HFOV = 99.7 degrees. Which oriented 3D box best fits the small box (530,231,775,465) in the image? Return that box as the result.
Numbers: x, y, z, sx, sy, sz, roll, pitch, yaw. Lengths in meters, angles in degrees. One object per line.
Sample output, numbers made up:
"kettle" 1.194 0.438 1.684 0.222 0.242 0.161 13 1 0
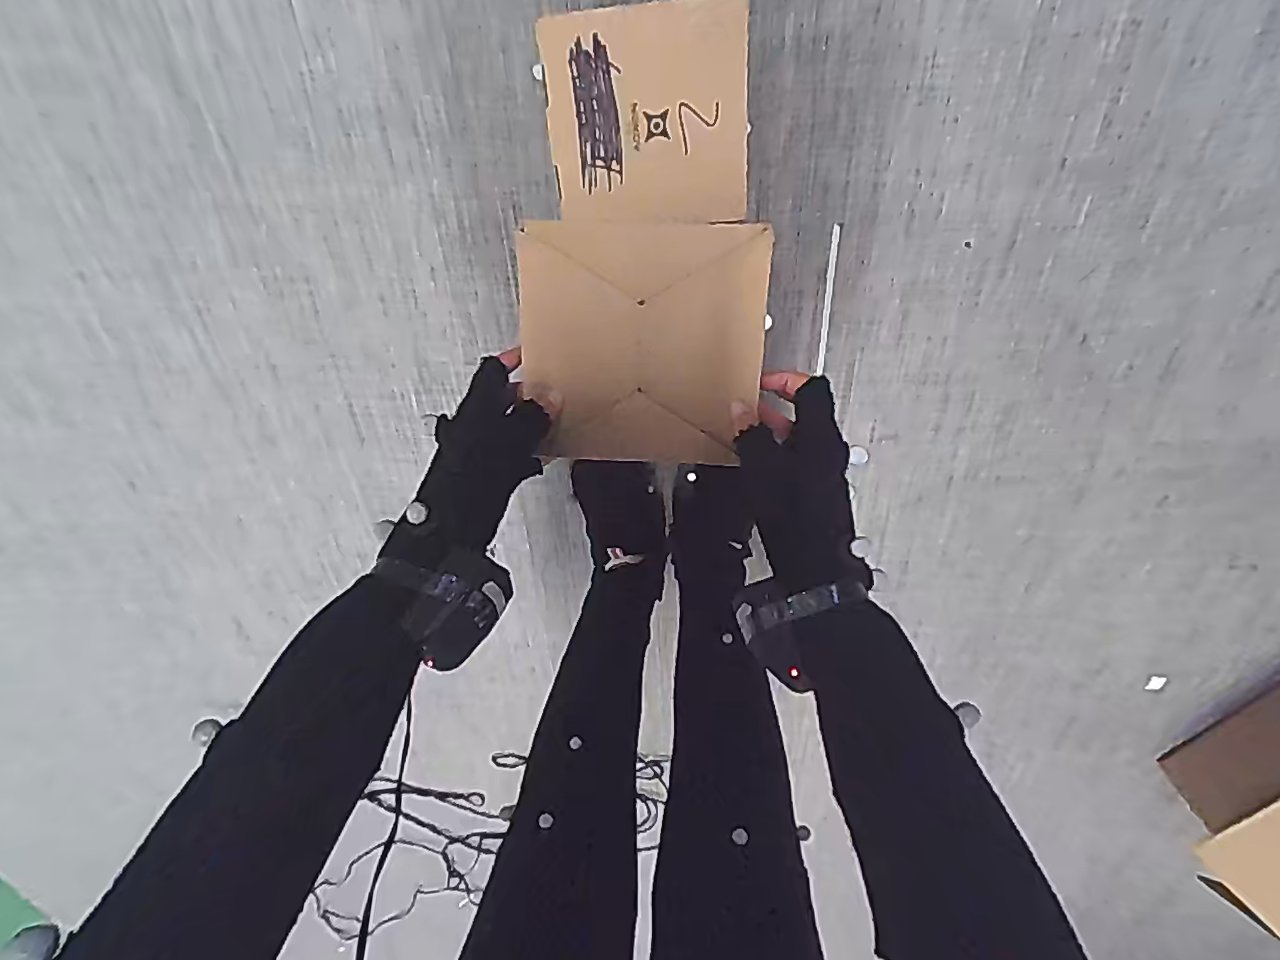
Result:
"small box" 0.015 -0.113 0.467 0.179 0.176 0.168 3 107 4
